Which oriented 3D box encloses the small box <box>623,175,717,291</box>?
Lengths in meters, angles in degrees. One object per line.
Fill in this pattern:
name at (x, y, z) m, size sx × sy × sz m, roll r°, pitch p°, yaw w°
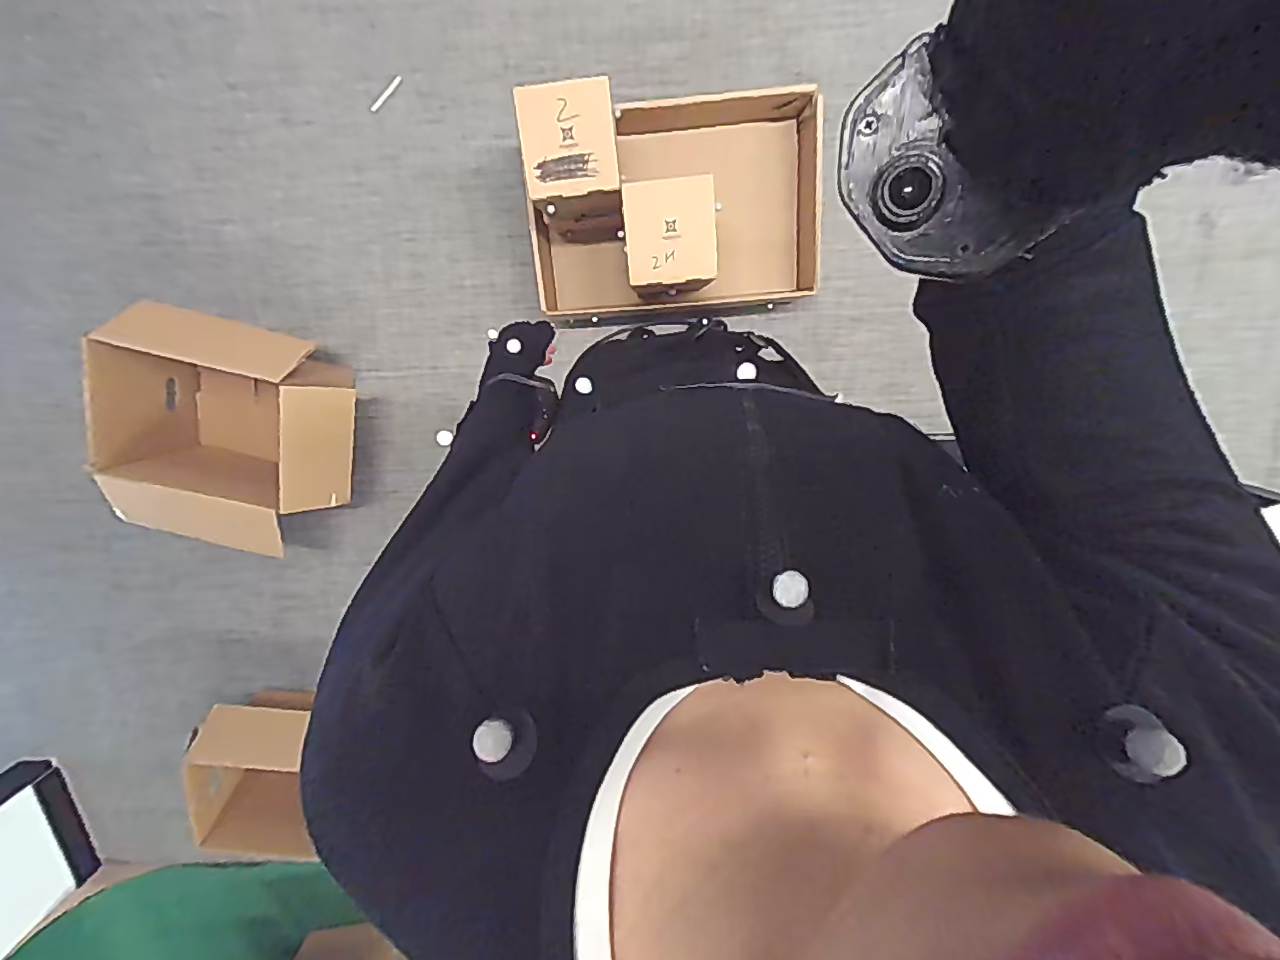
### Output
small box at (0.056, -0.469, 1.049) m, size 0.168 × 0.176 × 0.179 m, roll -4°, pitch 106°, yaw 2°
